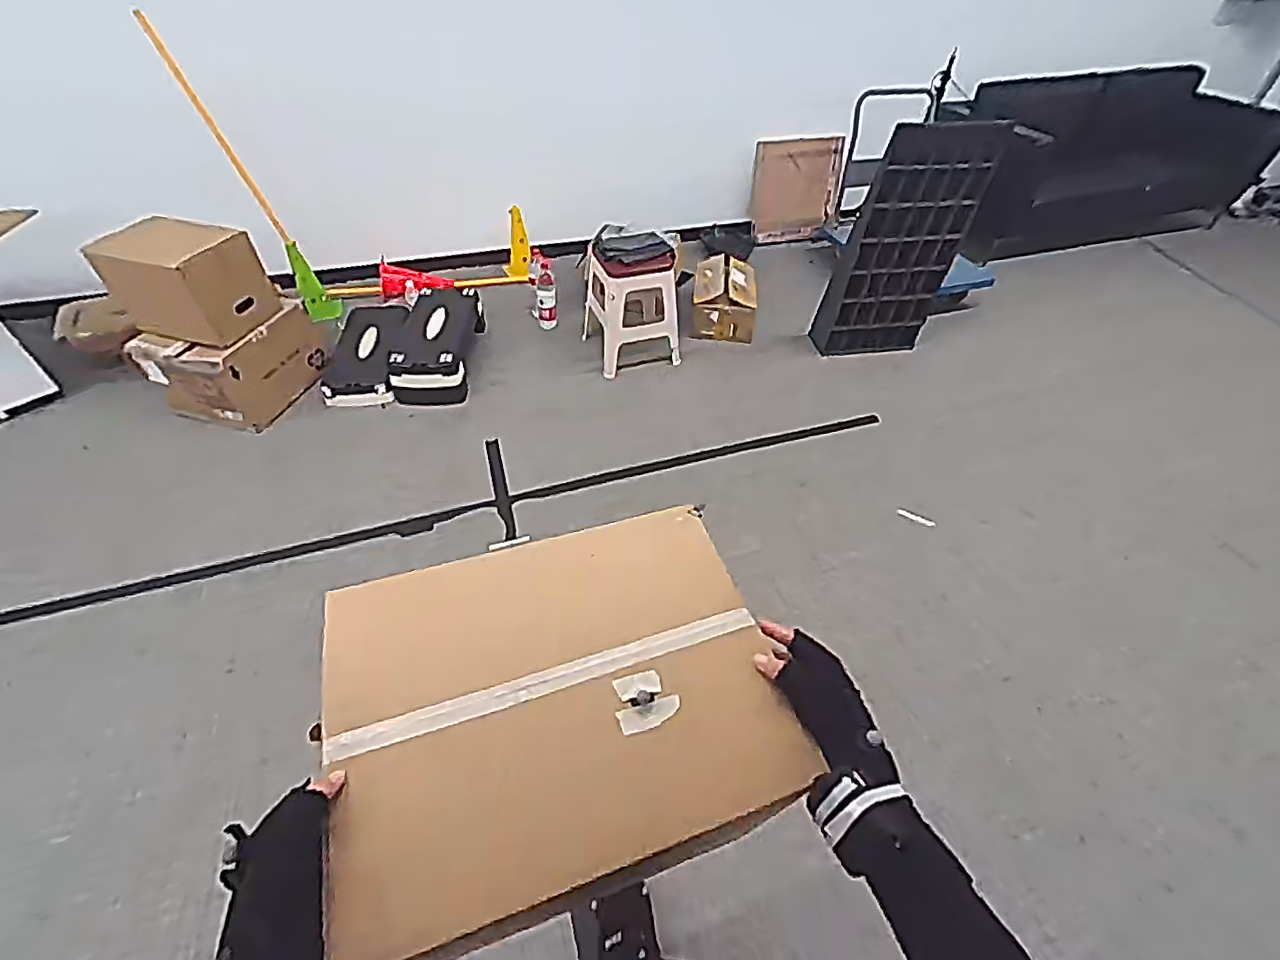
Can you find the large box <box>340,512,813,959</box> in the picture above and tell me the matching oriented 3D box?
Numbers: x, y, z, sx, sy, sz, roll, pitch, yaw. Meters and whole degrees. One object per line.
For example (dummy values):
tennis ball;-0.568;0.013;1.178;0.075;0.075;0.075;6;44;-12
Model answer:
large box;-0.087;0.290;0.640;0.408;0.320;0.320;-13;53;-16
